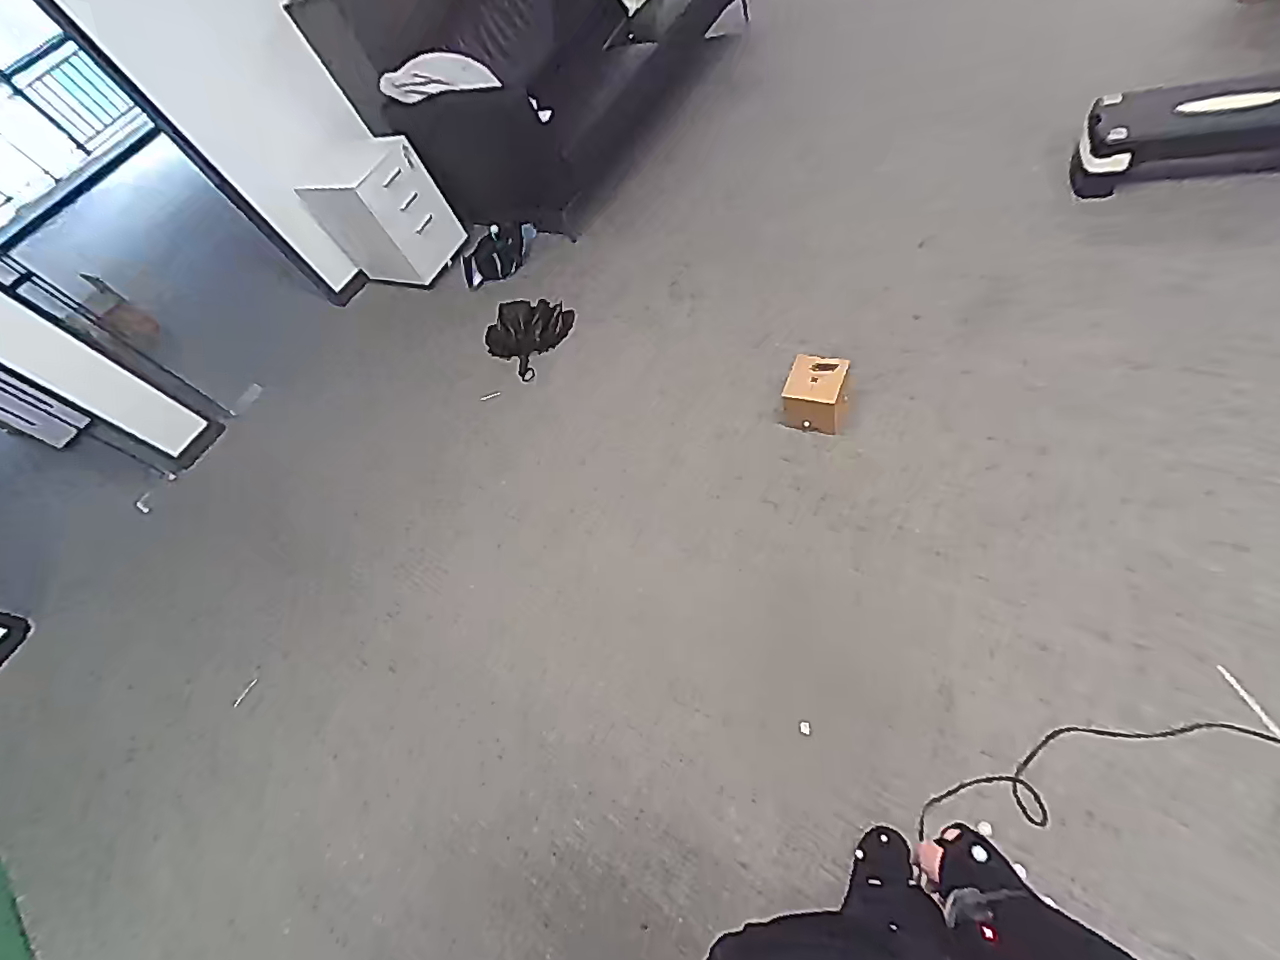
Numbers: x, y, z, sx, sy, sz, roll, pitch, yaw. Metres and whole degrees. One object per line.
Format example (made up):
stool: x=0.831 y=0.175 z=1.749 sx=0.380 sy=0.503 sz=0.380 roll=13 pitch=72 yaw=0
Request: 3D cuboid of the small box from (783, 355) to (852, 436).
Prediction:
small box: x=0.570 y=-0.269 z=1.727 sx=0.168 sy=0.176 sz=0.179 roll=15 pitch=66 yaw=29
